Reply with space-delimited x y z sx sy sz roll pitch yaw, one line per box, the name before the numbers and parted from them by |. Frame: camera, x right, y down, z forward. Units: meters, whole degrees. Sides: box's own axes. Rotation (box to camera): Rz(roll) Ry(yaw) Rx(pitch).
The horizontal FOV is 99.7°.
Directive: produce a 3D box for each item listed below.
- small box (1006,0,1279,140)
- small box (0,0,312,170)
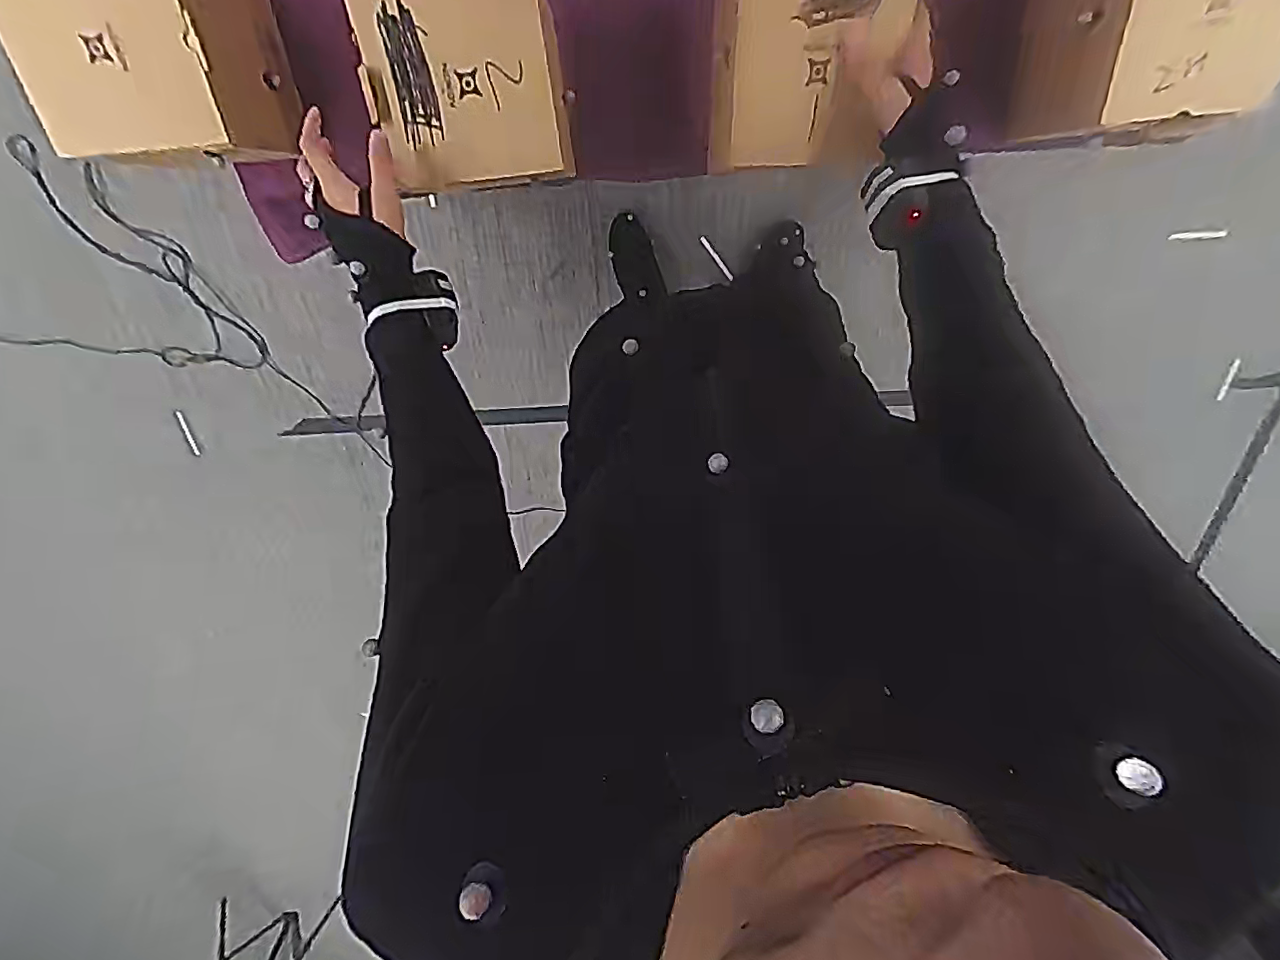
small box | 0.528 -0.475 0.570 0.168 0.176 0.179 -5 118 2
small box | -0.494 -0.430 0.569 0.179 0.176 0.168 -5 118 0
